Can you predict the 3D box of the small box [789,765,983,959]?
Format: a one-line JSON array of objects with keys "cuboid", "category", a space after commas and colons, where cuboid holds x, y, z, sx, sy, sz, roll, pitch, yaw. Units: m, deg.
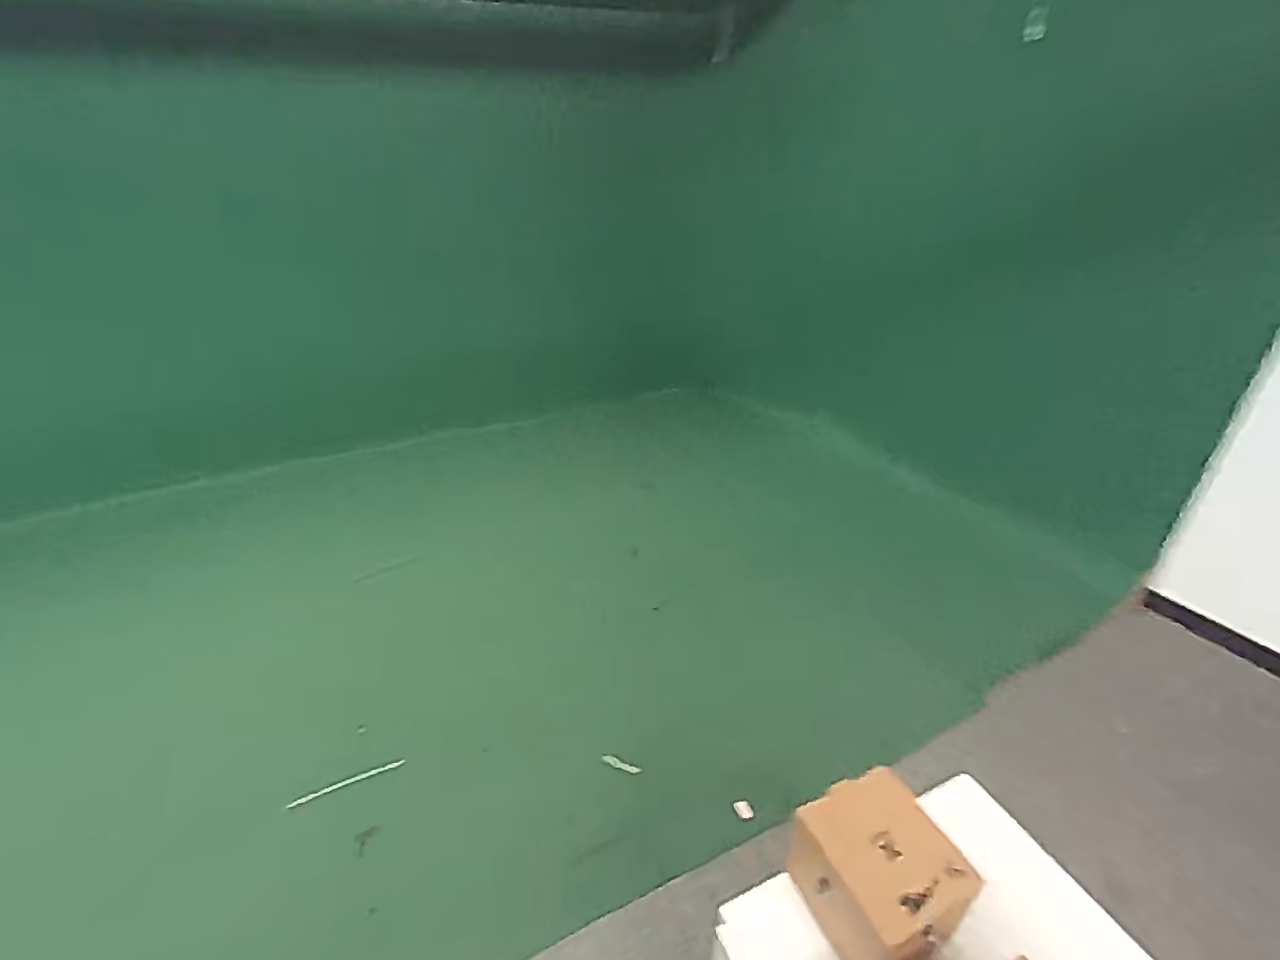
[{"cuboid": [0.331, 0.556, 0.766, 0.168, 0.176, 0.179, -14, 32, -19], "category": "small box"}]
